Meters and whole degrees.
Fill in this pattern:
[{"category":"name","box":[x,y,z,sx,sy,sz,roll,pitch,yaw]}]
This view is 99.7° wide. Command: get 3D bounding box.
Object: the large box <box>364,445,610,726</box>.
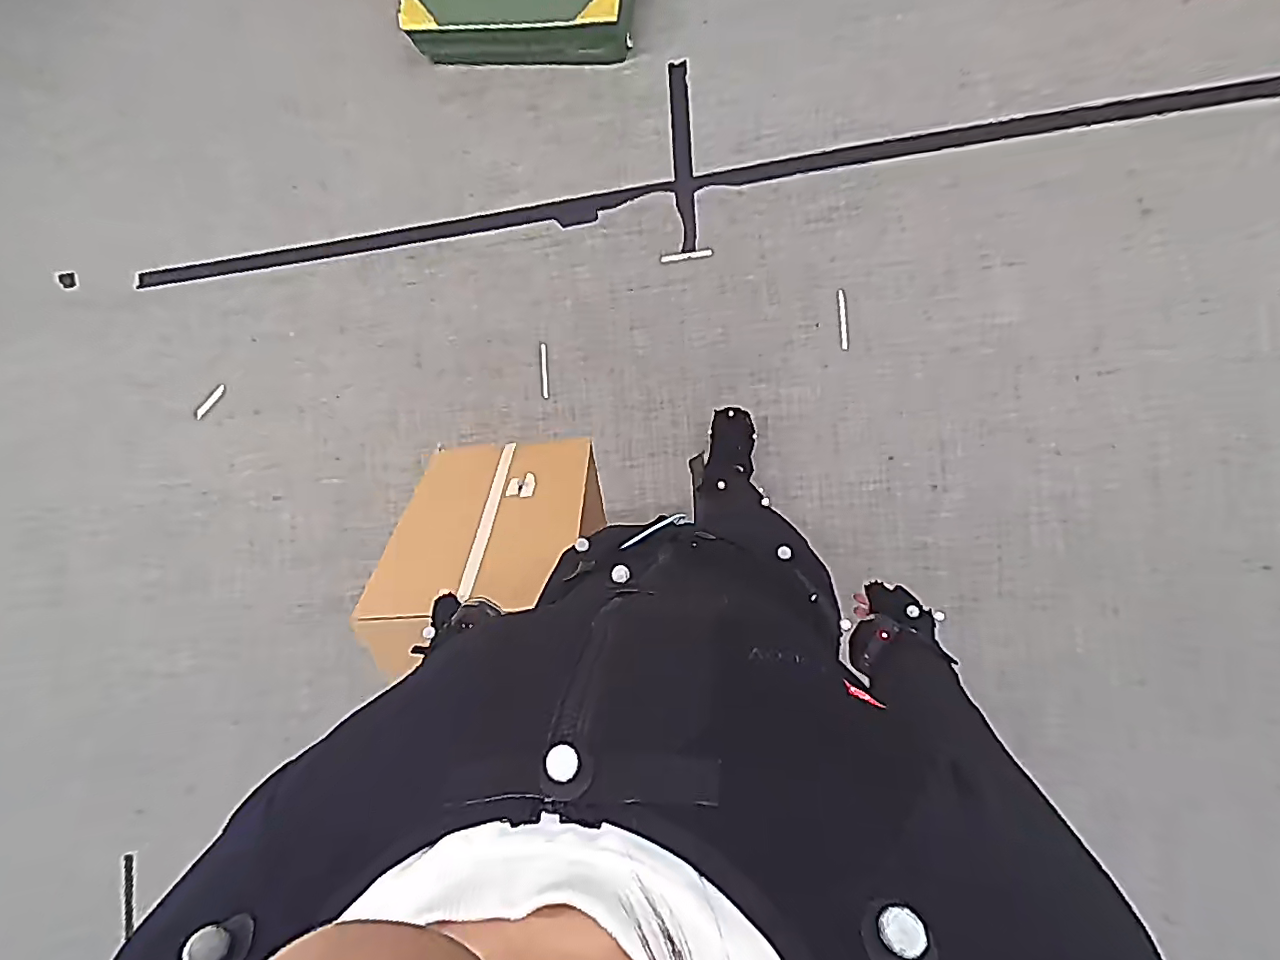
[{"category":"large box","box":[-0.230,0.182,0.999,0.320,0.408,0.320,-4,128,3]}]
